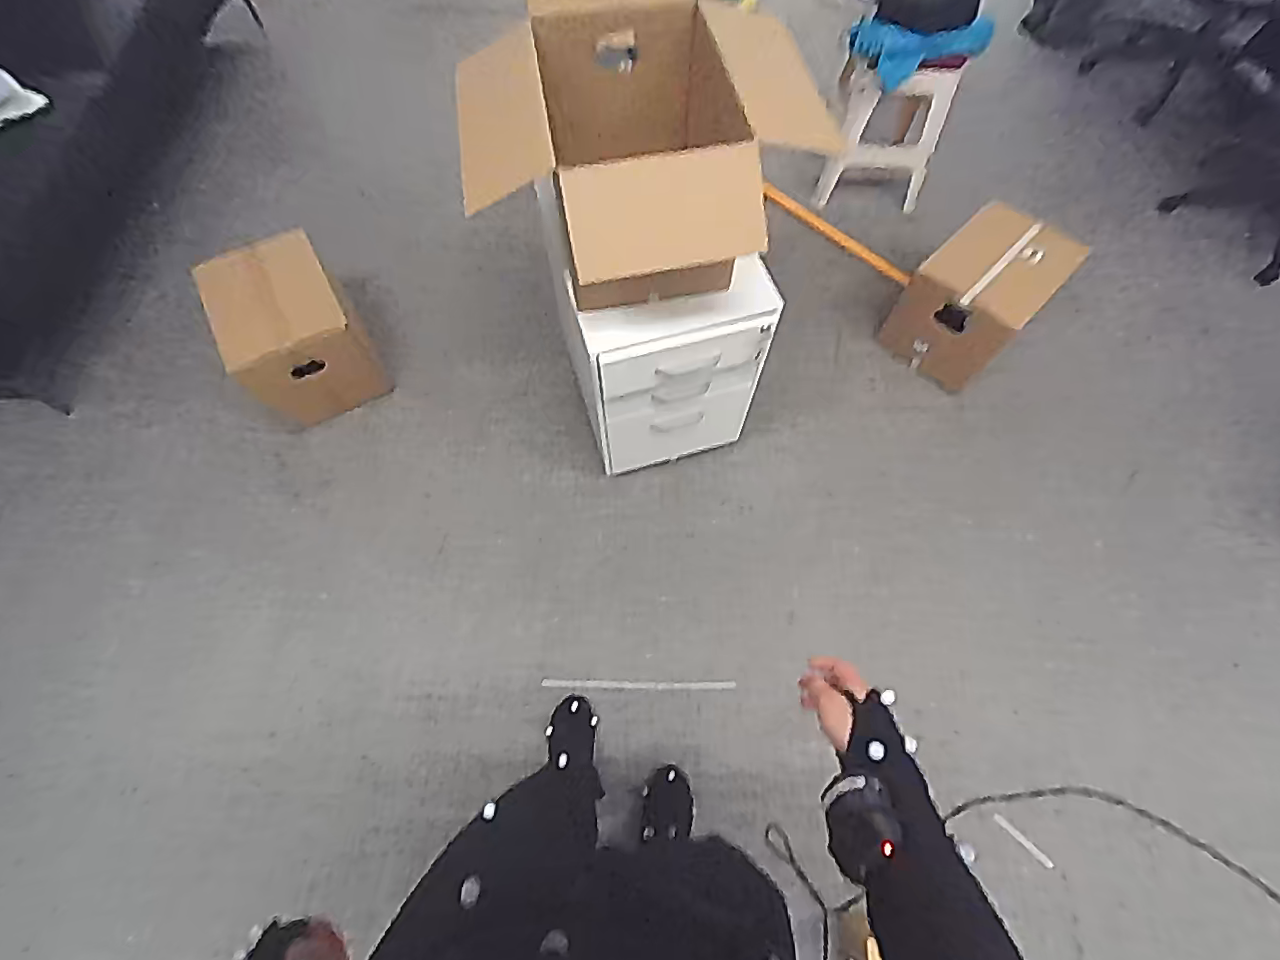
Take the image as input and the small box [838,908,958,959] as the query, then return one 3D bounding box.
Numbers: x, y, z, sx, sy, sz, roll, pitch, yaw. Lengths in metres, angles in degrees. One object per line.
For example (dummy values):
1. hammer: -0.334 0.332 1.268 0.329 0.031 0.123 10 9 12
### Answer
1. small box: 0.493 0.952 1.041 0.179 0.176 0.168 3 66 1
